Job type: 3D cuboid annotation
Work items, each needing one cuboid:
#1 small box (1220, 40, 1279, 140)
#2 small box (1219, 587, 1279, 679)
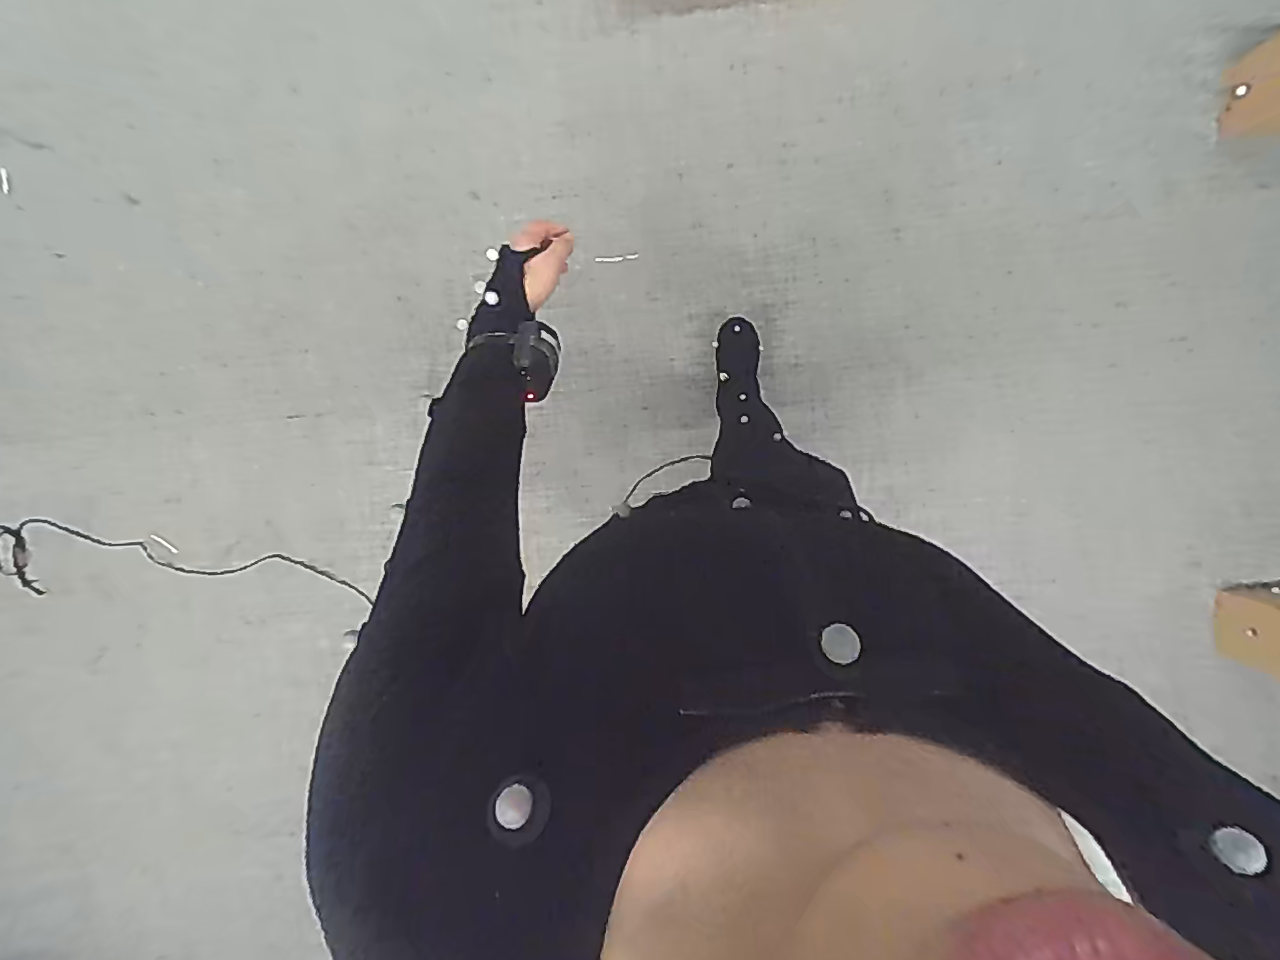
[{"bbox_3d":[1.470,-0.884,1.200,0.179,0.176,0.168,1,95,4],"label":"small box"},{"bbox_3d":[1.593,0.374,1.331,0.168,0.176,0.179,-4,95,4],"label":"small box"}]
